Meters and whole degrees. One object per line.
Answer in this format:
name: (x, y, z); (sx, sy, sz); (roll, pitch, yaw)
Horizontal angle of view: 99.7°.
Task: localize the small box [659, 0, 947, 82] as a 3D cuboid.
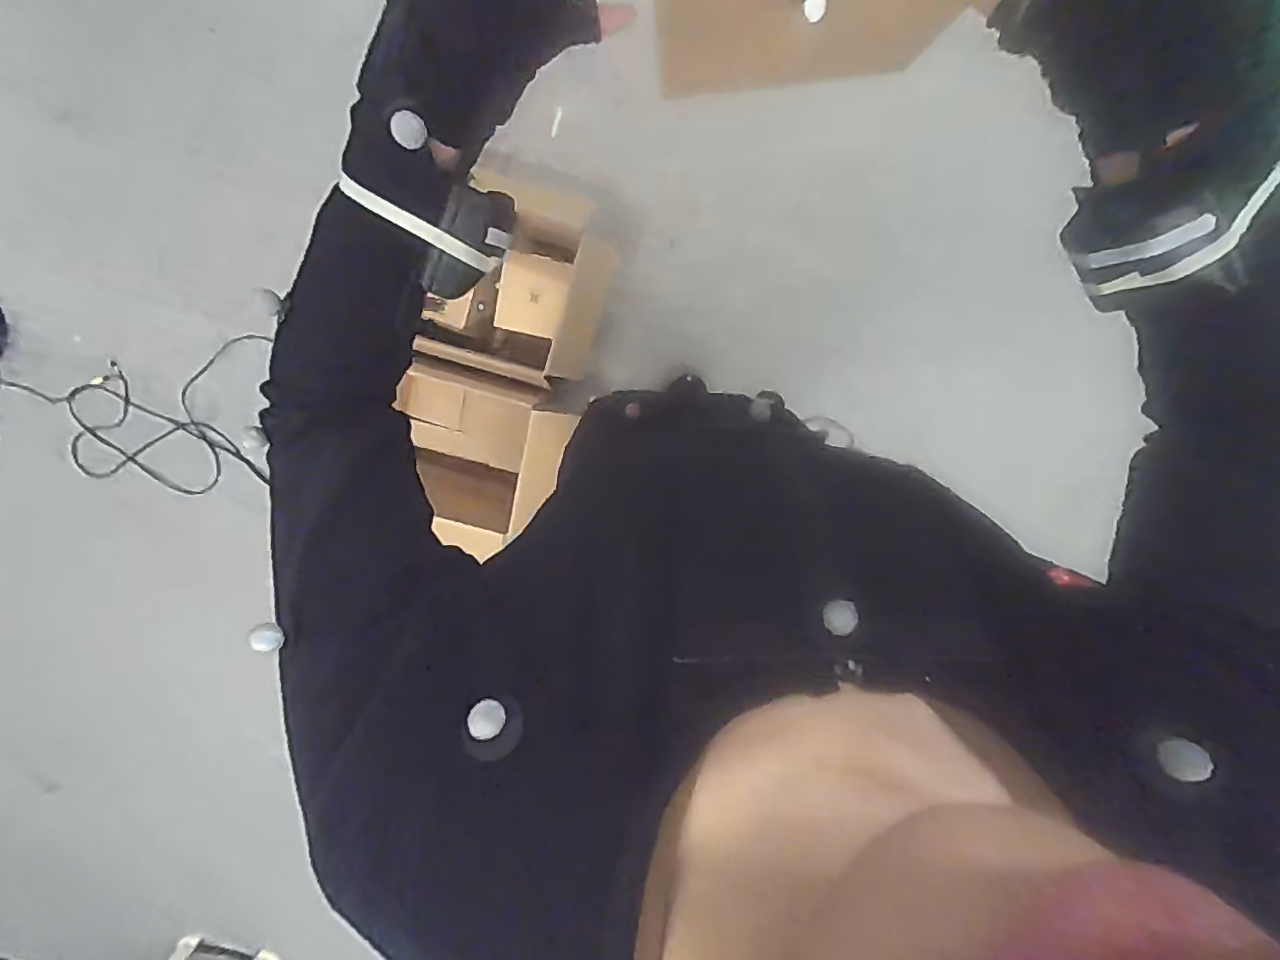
small box: (0.094, -0.345, 0.290); (0.179, 0.176, 0.168); (-4, 107, 2)
